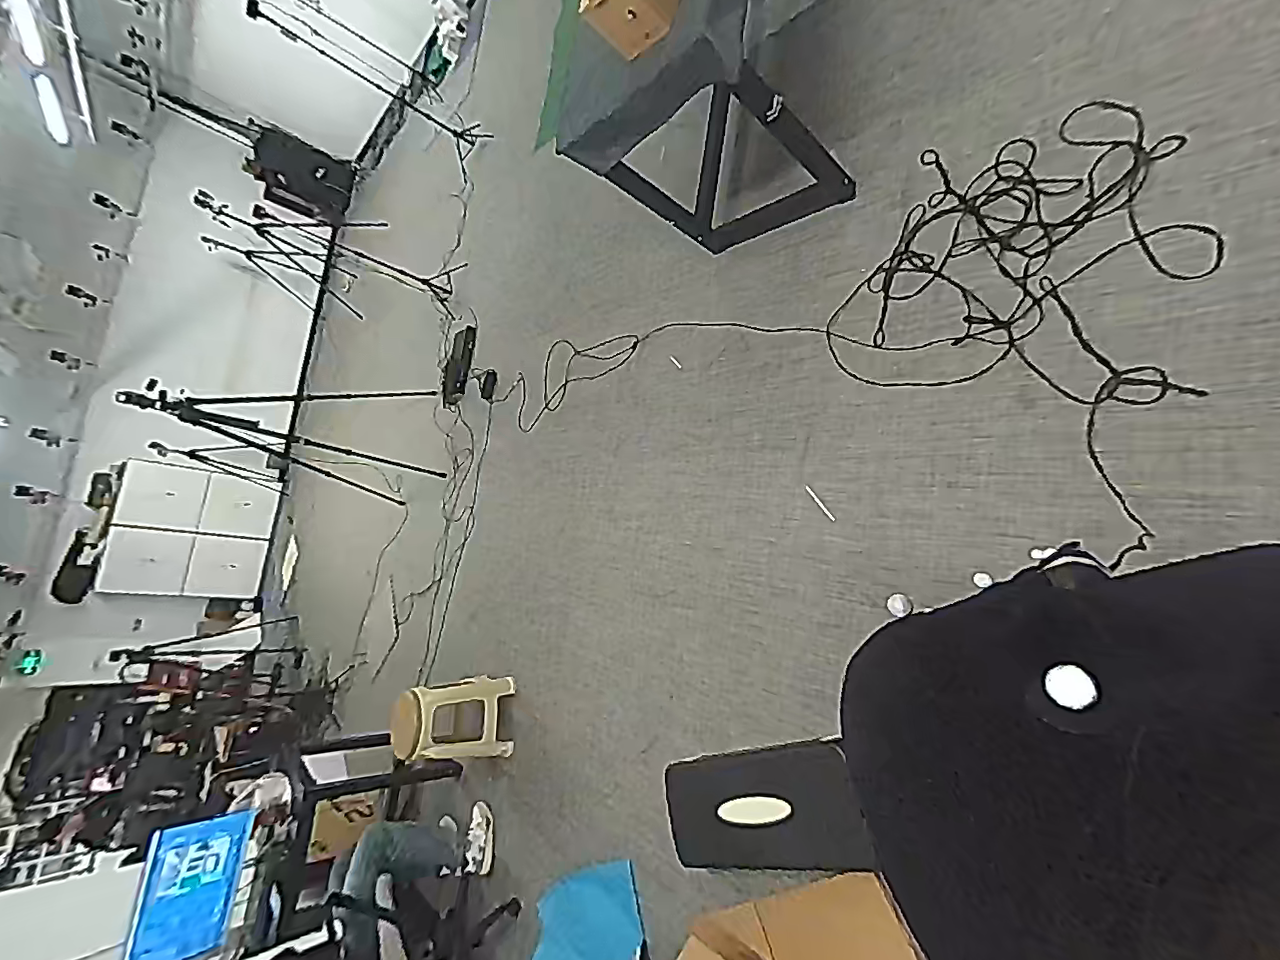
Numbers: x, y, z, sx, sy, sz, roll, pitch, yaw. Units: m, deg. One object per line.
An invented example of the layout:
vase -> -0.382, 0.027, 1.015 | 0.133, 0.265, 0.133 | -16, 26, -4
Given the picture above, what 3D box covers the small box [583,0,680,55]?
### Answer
small box -> -0.008, -1.179, 1.301 | 0.168, 0.176, 0.179 | 11, 87, 49
